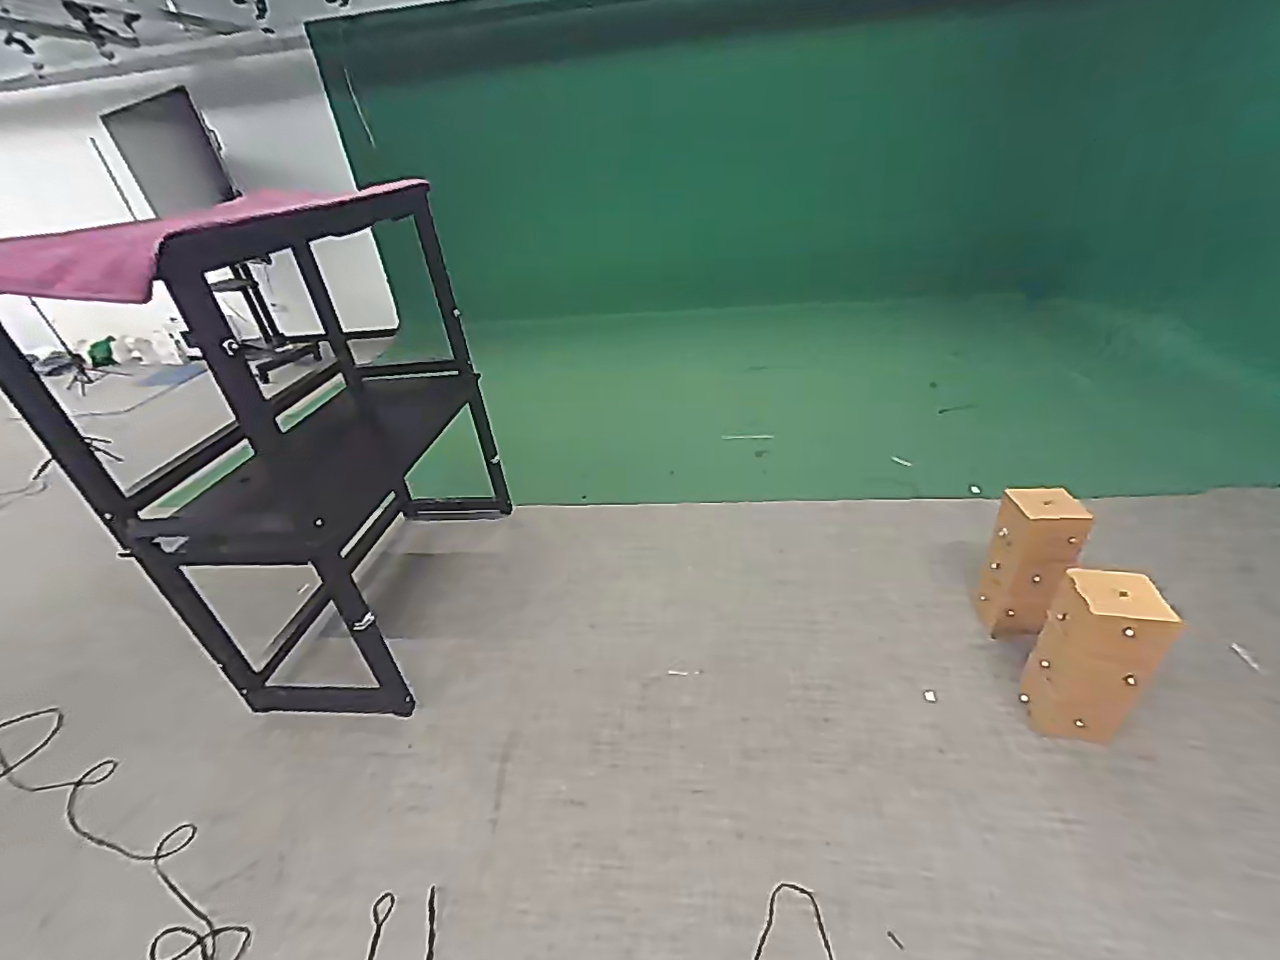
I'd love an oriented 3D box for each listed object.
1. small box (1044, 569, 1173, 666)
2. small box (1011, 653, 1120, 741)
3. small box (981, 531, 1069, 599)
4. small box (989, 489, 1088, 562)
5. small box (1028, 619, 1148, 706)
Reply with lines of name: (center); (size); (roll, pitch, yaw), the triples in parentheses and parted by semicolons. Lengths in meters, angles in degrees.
small box: (1.185, 0.353, 1.385); (0.179, 0.176, 0.168); (2, 34, 13)
small box: (1.216, 0.627, 1.560); (0.179, 0.176, 0.168); (2, 33, 13)
small box: (1.259, 0.280, 1.787); (0.179, 0.176, 0.168); (-3, 32, 6)
small box: (1.240, 0.145, 1.698); (0.179, 0.176, 0.168); (-3, 31, 6)
small box: (1.204, 0.491, 1.469); (0.179, 0.176, 0.168); (1, 33, 11)
